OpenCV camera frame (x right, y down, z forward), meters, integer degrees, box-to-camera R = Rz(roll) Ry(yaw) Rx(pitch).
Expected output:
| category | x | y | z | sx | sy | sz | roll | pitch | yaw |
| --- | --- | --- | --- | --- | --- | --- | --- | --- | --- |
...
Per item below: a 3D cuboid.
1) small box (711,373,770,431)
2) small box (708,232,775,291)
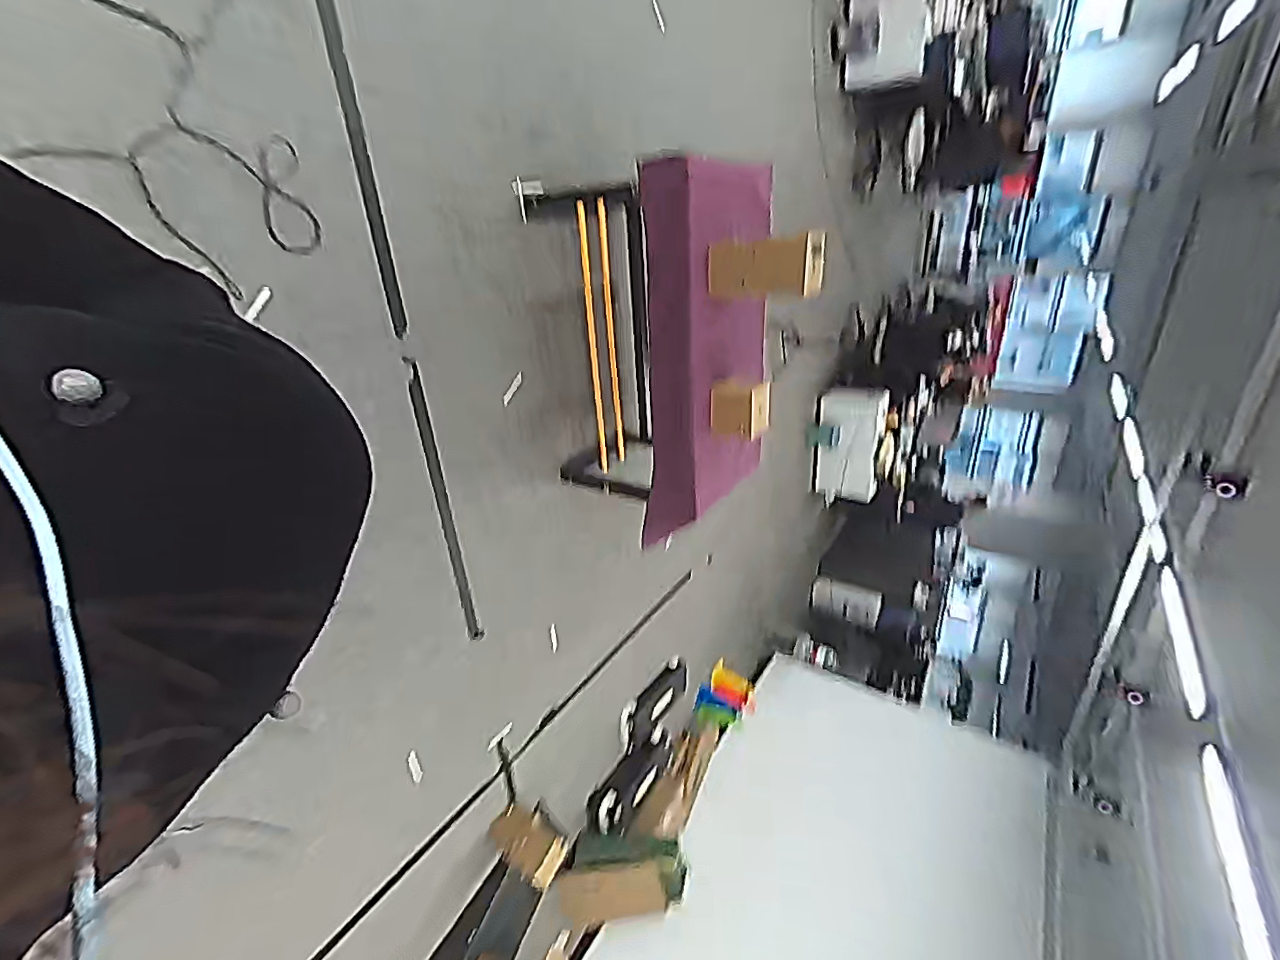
| category | x | y | z | sx | sy | sz | roll | pitch | yaw |
| --- | --- | --- | --- | --- | --- | --- | --- | --- | --- |
| small box | 0.375 | -0.298 | 2.028 | 0.168 | 0.176 | 0.179 | -33 | 128 | -47 |
| small box | 0.338 | -0.736 | 1.814 | 0.168 | 0.176 | 0.179 | -32 | 127 | -48 |
